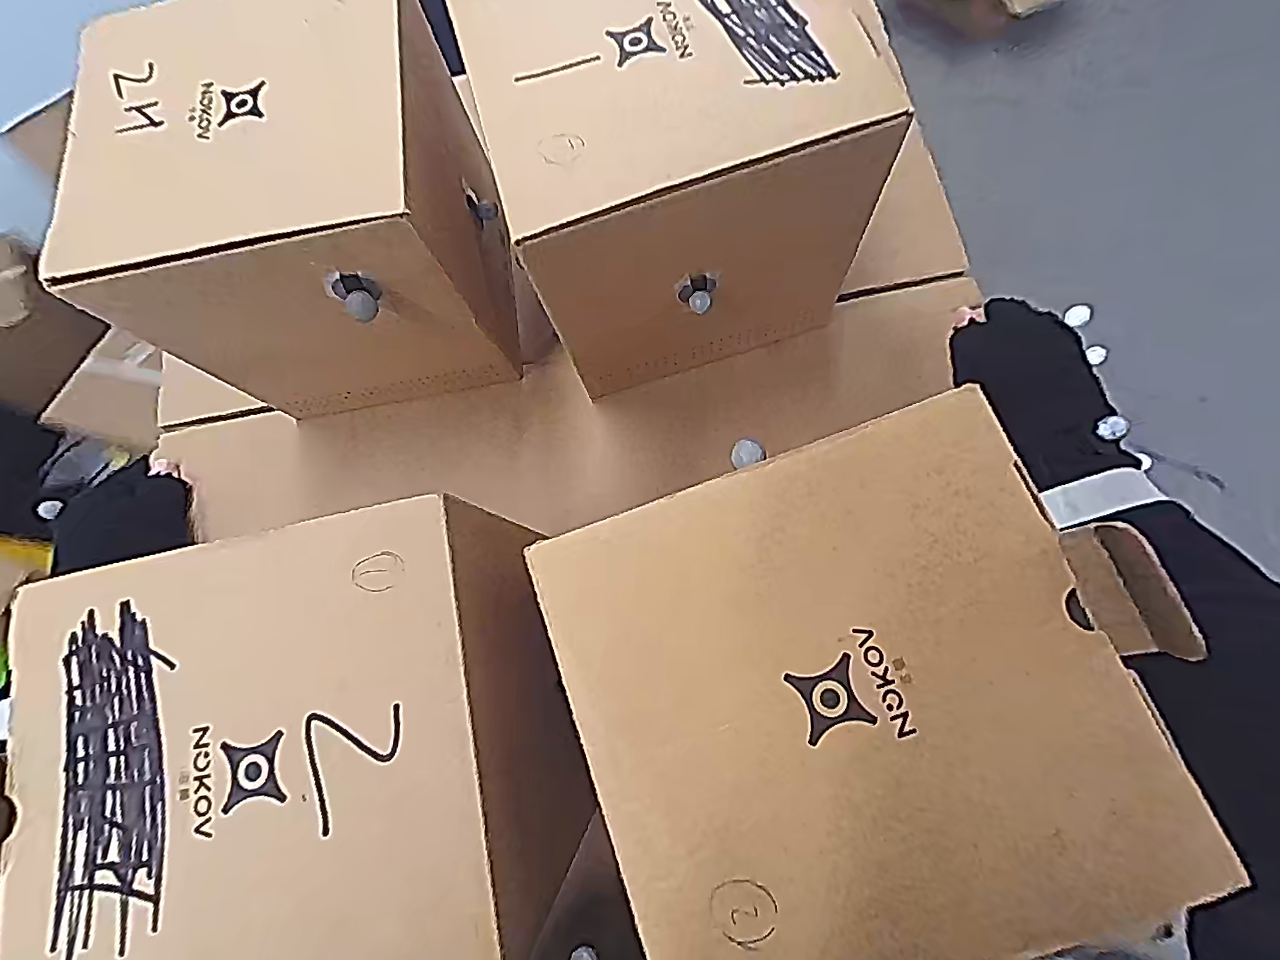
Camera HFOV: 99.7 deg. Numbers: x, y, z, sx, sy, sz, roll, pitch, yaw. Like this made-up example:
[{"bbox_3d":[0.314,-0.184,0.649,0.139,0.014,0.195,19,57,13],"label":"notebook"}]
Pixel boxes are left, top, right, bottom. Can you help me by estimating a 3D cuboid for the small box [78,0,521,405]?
[{"bbox_3d":[-0.182,-0.162,0.350,0.179,0.176,0.168,-7,74,5],"label":"small box"}]
